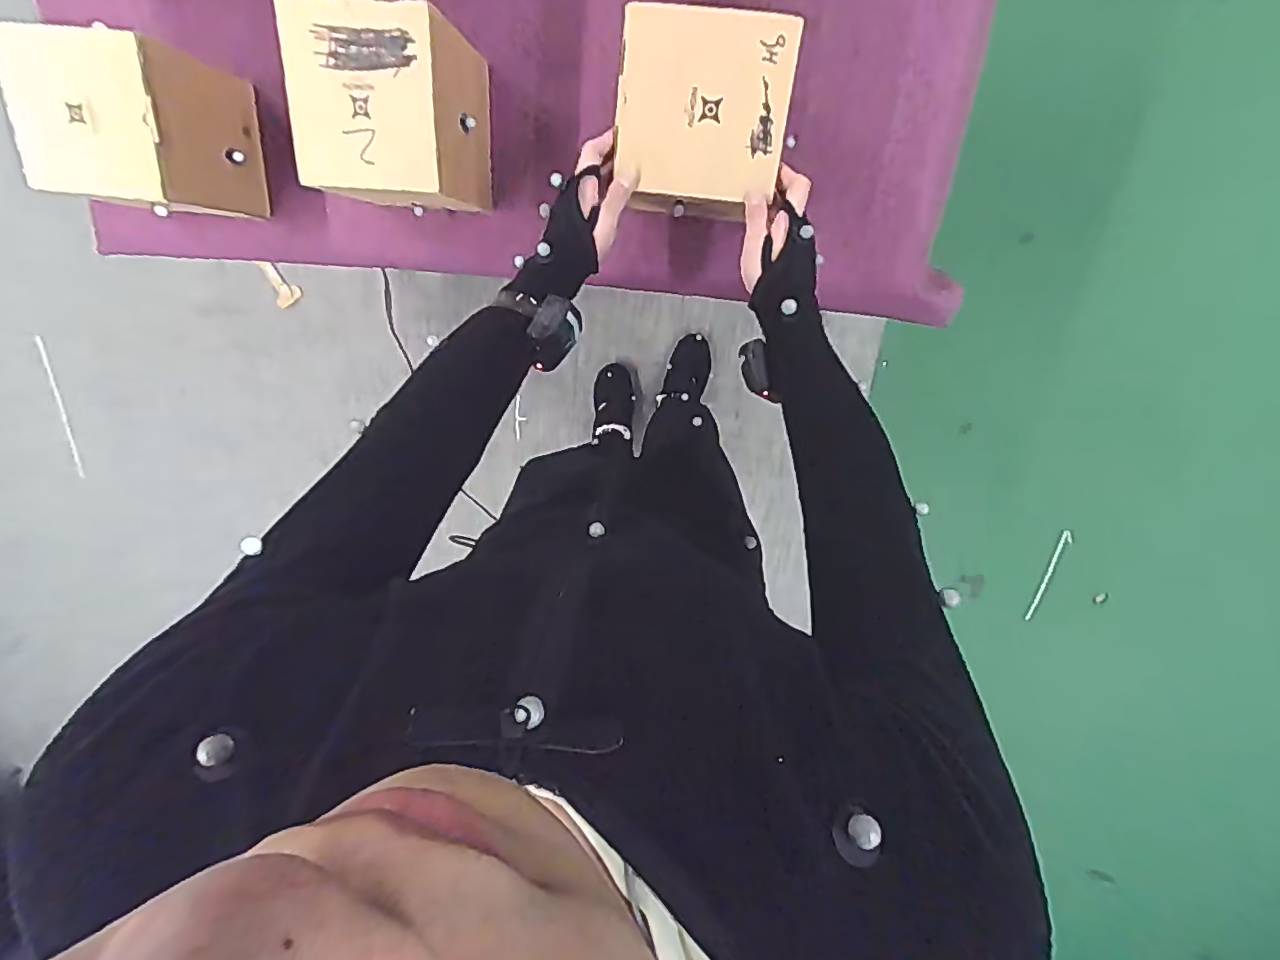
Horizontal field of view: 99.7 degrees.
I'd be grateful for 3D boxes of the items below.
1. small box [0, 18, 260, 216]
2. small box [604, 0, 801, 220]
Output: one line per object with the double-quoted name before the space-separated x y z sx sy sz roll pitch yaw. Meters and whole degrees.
"small box" -0.625 -0.434 0.674 0.179 0.176 0.168 6 110 3
"small box" 0.066 -0.400 0.613 0.179 0.176 0.168 8 111 4
